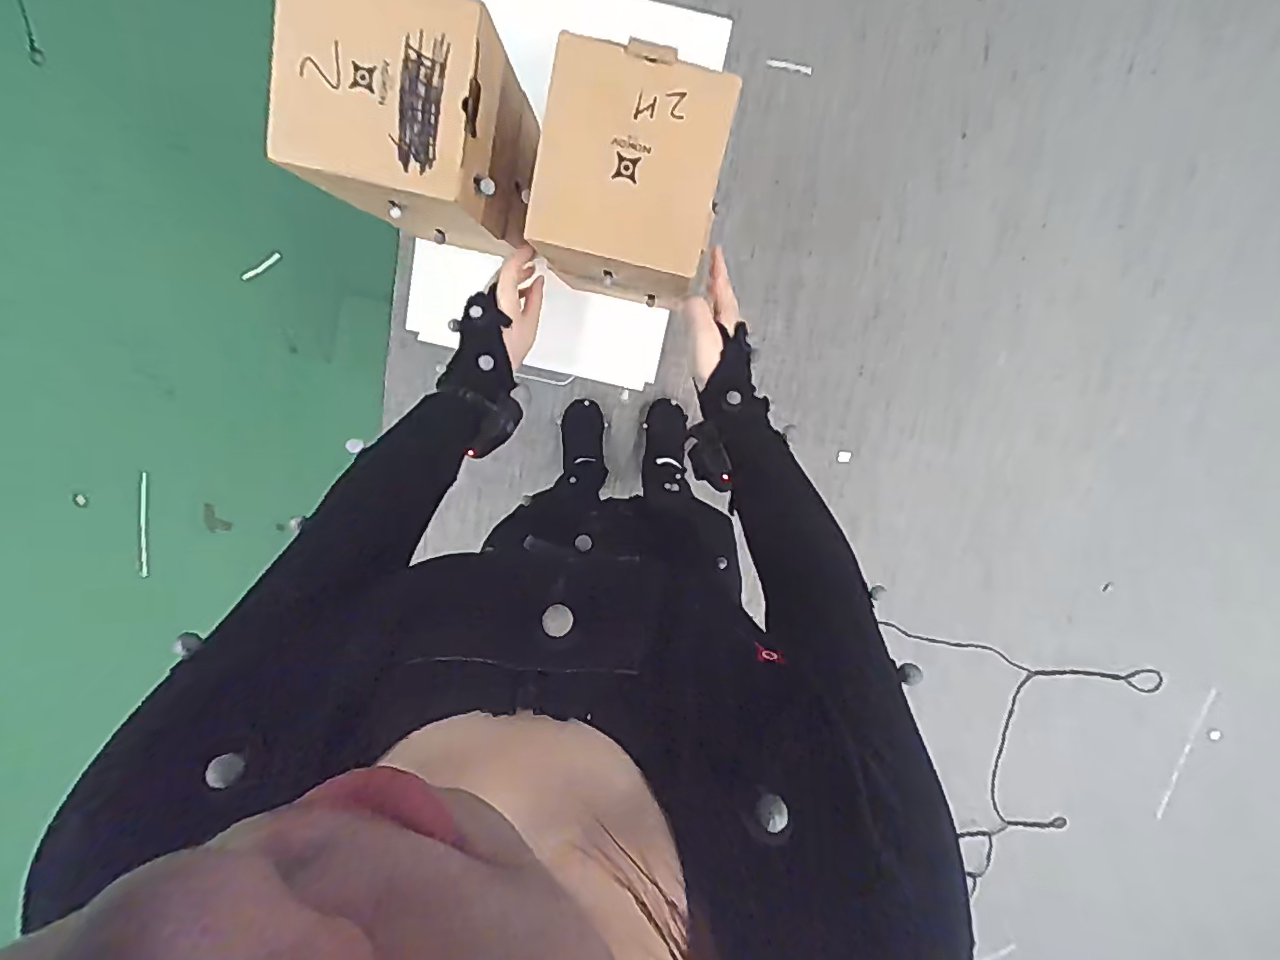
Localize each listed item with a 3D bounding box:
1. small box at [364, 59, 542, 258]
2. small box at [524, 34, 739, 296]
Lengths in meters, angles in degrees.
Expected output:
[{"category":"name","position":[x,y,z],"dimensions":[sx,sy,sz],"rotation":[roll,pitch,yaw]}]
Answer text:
[{"category":"small box","position":[-0.231,-0.405,0.714],"dimensions":[0.179,0.176,0.168],"rotation":[11,103,-3]},{"category":"small box","position":[-0.009,-0.303,0.565],"dimensions":[0.168,0.176,0.179],"rotation":[13,102,-3]}]
